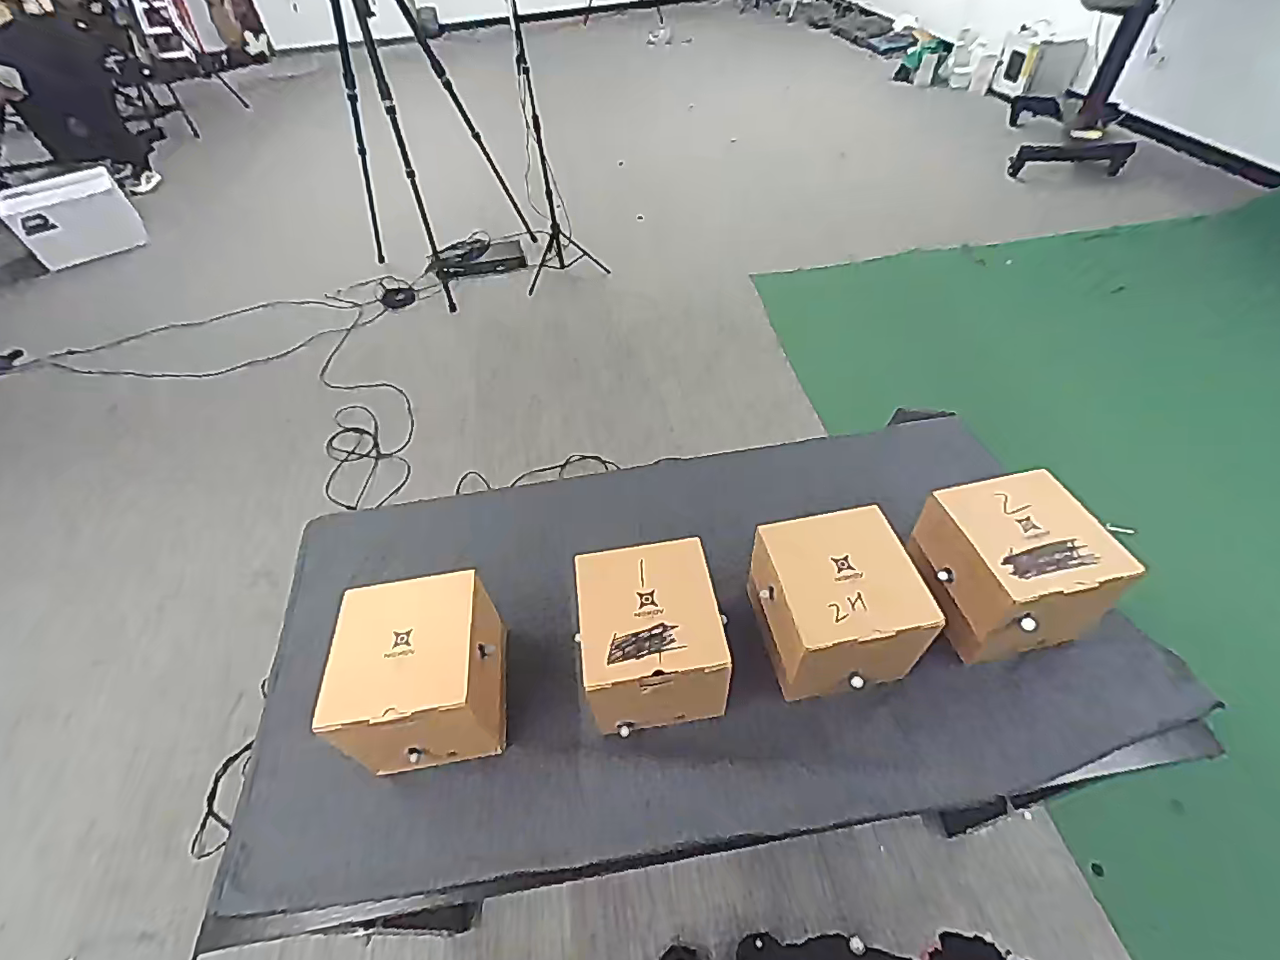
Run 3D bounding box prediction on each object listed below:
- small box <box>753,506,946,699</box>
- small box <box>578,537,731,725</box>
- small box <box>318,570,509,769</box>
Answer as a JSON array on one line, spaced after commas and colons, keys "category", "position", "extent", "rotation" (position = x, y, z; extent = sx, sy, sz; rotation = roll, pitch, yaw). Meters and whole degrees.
[{"category": "small box", "position": [0.255, 0.162, 0.714], "extent": [0.168, 0.176, 0.179], "rotation": [-11, 49, -2]}, {"category": "small box", "position": [0.017, 0.202, 0.701], "extent": [0.168, 0.176, 0.179], "rotation": [-8, 48, -2]}, {"category": "small box", "position": [-0.269, 0.242, 0.690], "extent": [0.168, 0.176, 0.179], "rotation": [-9, 48, -4]}]
